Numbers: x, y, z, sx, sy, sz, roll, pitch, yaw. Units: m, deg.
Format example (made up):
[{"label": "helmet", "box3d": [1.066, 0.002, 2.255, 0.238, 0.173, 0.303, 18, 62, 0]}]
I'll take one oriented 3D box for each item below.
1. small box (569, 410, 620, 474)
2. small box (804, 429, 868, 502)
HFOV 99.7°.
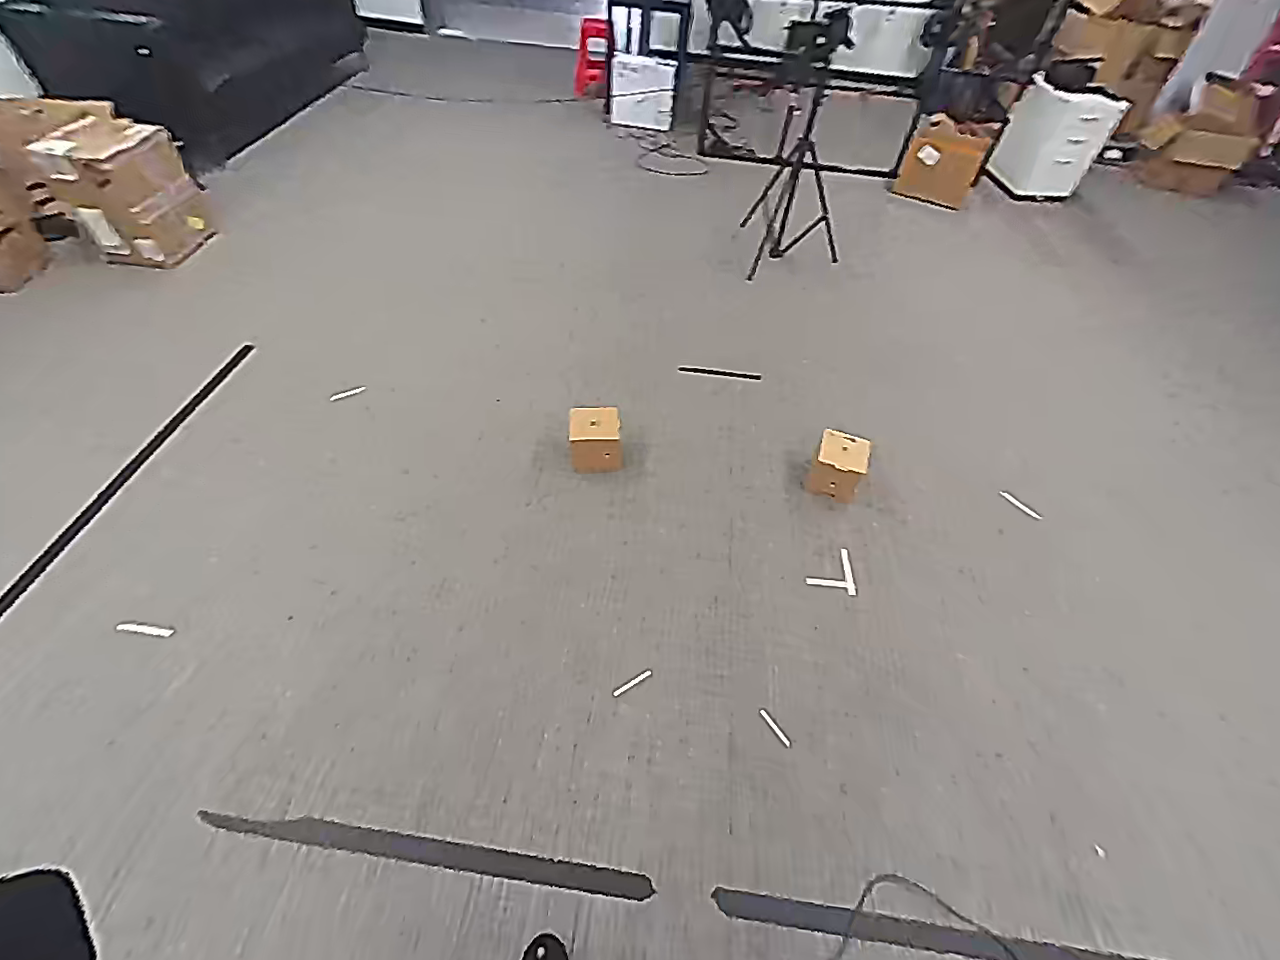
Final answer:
[{"label": "small box", "box3d": [-0.167, -0.136, 1.959, 0.179, 0.176, 0.168, -3, 49, -6]}, {"label": "small box", "box3d": [0.704, -0.049, 1.955, 0.168, 0.176, 0.179, 18, 52, 10]}]
